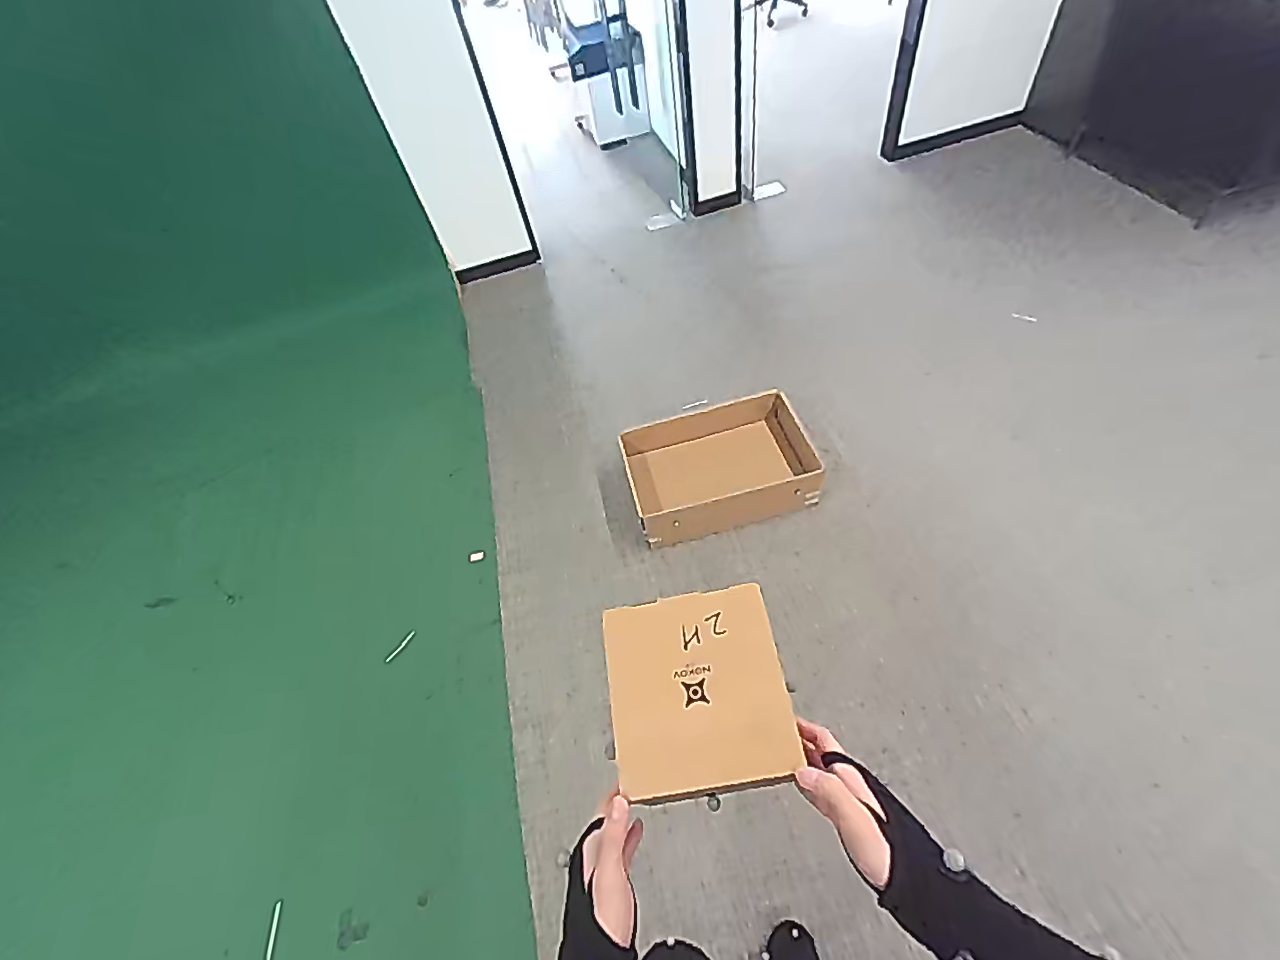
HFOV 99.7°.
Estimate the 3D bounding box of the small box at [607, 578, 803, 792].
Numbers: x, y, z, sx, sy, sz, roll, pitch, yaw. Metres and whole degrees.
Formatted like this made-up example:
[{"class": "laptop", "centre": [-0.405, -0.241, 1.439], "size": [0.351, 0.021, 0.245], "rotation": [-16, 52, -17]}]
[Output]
[{"class": "small box", "centre": [0.067, 0.230, 0.588], "size": [0.168, 0.176, 0.179], "rotation": [-11, 57, 3]}]
